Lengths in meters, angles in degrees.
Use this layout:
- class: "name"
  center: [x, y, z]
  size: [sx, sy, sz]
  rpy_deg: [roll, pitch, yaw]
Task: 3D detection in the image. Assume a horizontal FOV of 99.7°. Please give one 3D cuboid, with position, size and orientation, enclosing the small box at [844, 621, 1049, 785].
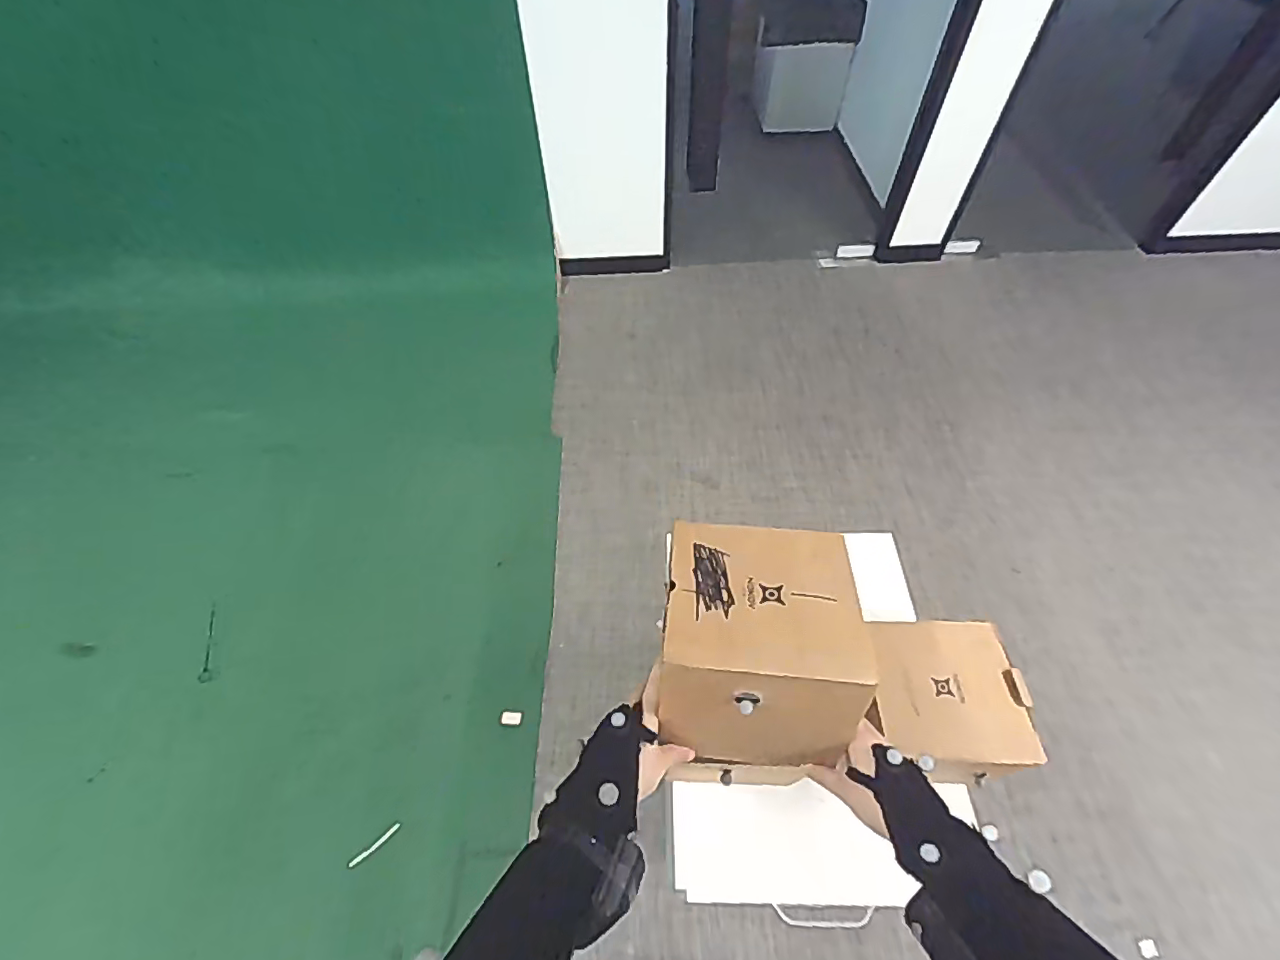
- class: "small box"
  center: [0.371, 0.295, 0.708]
  size: [0.179, 0.176, 0.168]
  rpy_deg: [0, 54, 4]

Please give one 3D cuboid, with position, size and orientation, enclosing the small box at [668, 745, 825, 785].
- class: "small box"
  center: [0.126, 0.297, 0.710]
  size: [0.179, 0.176, 0.168]
  rpy_deg: [1, 55, 1]

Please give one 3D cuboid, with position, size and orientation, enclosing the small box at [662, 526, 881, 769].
- class: "small box"
  center: [0.116, 0.168, 0.545]
  size: [0.179, 0.176, 0.168]
  rpy_deg: [5, 41, 5]
